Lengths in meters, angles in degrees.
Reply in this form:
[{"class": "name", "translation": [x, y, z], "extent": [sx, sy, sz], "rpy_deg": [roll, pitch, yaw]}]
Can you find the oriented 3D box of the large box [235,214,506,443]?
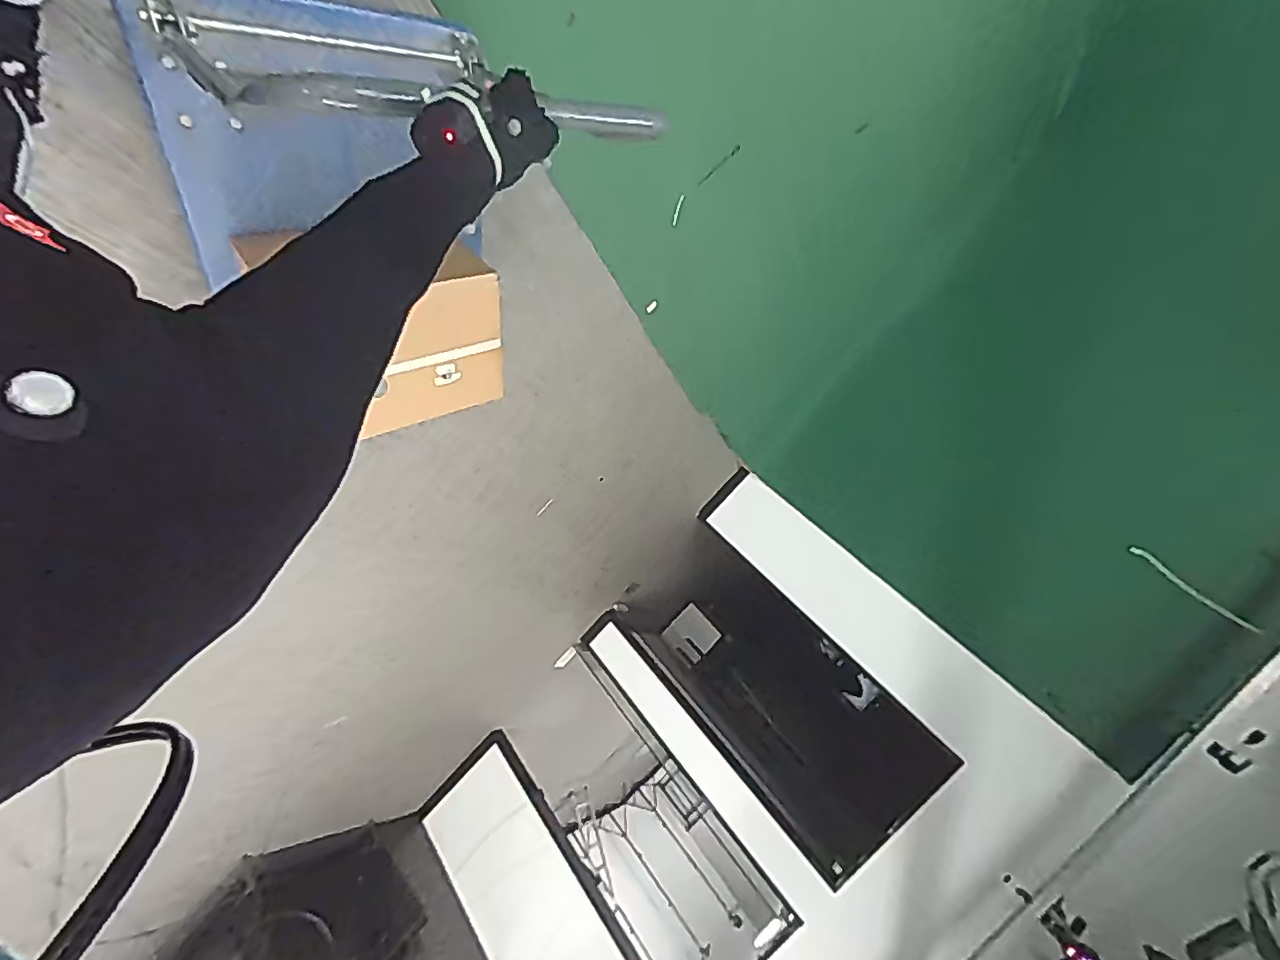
[{"class": "large box", "translation": [-0.551, -0.344, 1.165], "extent": [0.408, 0.320, 0.320], "rpy_deg": [-27, 146, -32]}]
